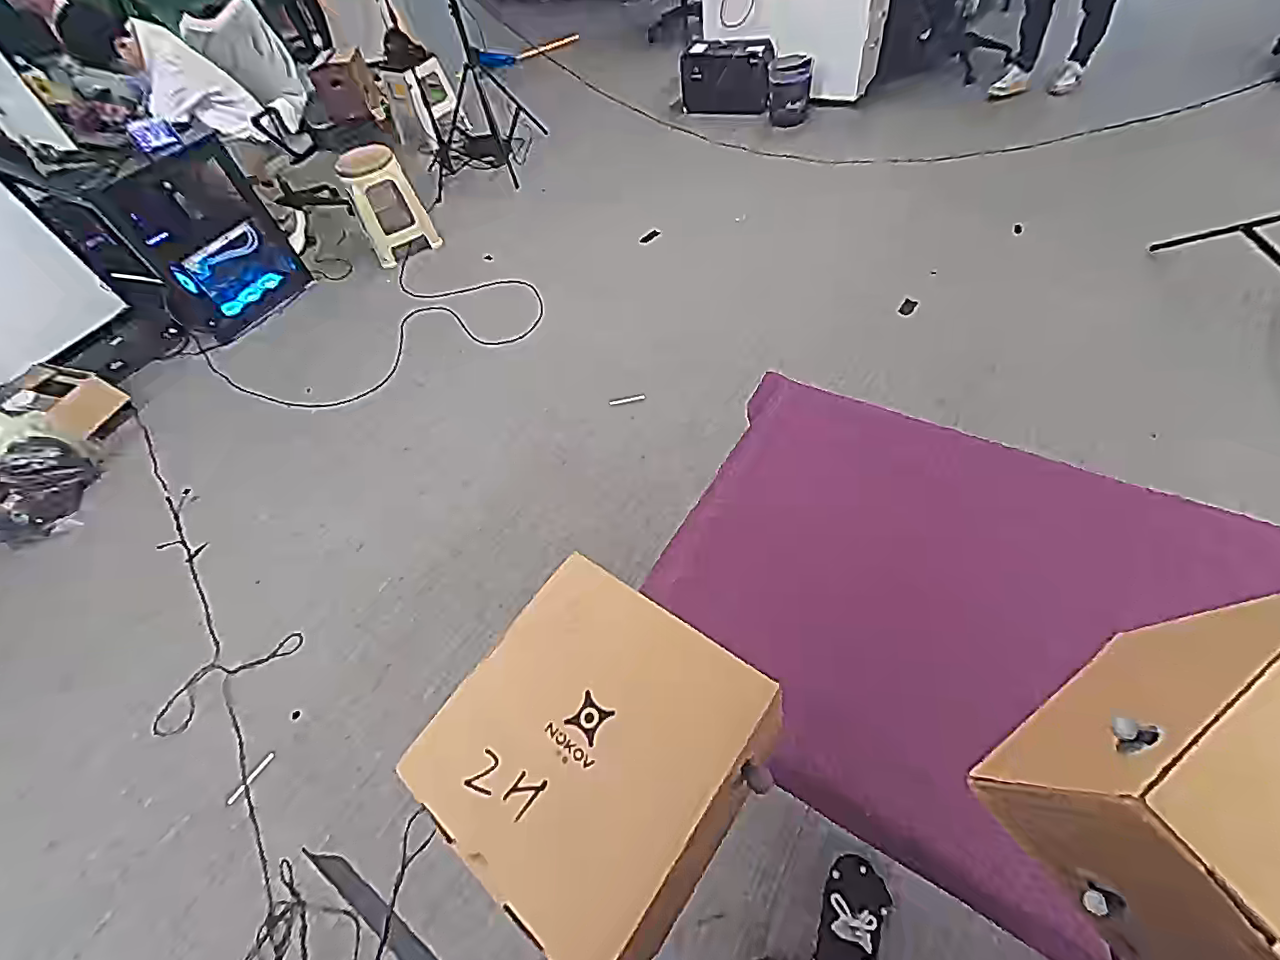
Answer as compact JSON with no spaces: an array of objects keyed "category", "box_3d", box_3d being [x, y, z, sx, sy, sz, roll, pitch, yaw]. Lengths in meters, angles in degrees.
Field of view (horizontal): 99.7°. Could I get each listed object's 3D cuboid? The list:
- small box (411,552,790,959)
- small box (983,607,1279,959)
[{"category":"small box","box_3d":[-0.012,0.189,0.383,0.168,0.176,0.179,28,68,29]},{"category":"small box","box_3d":[0.343,0.188,0.301,0.179,0.176,0.168,-34,67,-11]}]
